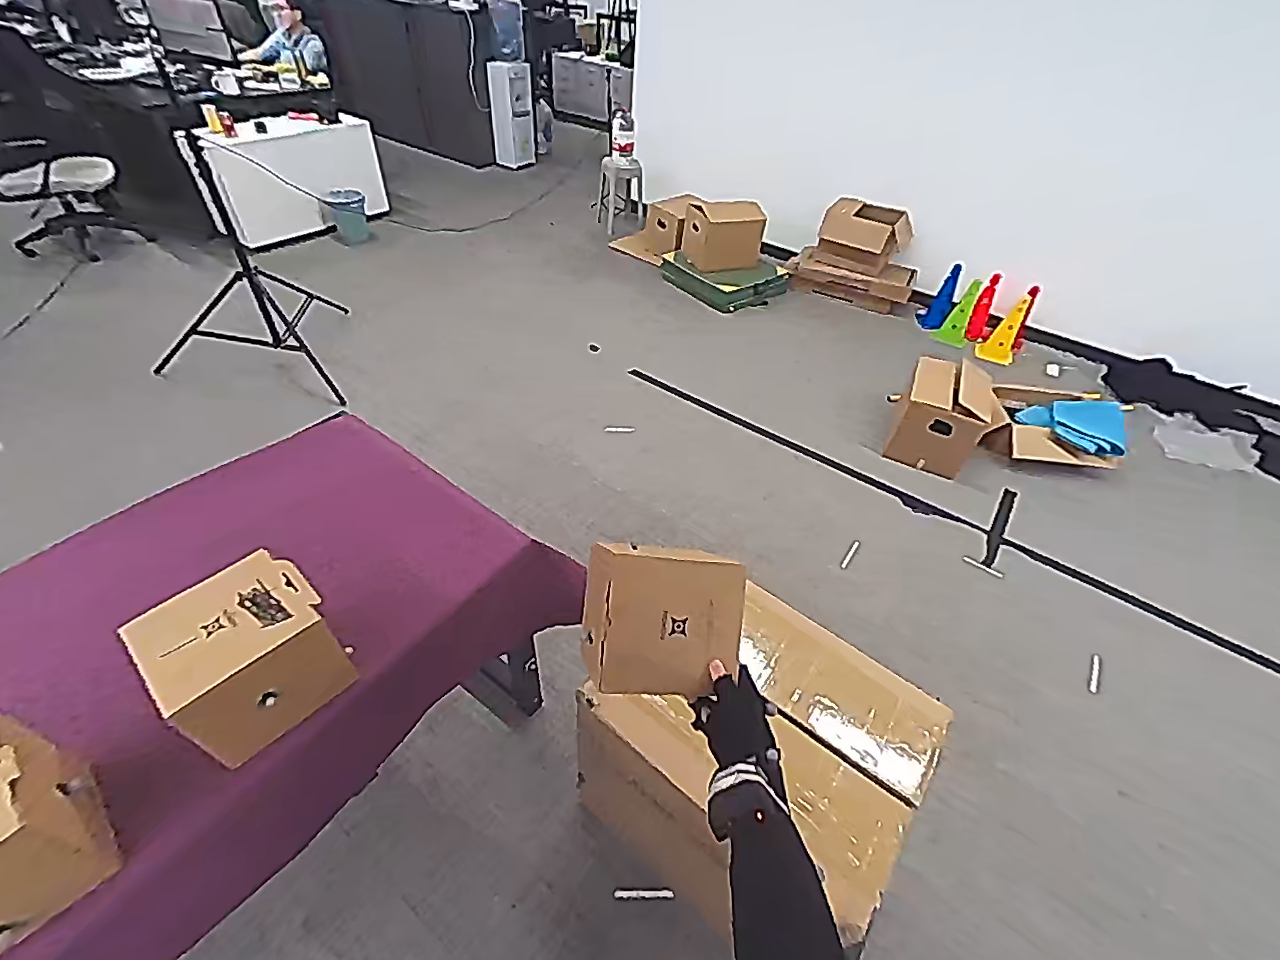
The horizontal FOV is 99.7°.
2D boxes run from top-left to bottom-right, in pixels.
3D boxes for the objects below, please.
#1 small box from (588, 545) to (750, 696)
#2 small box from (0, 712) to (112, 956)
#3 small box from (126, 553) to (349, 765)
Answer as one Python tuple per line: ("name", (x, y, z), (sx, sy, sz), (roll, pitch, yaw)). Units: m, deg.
("small box", (0.029, 0.180, 0.733), (0.179, 0.176, 0.168), (7, 86, -13))
("small box", (-0.706, 0.390, 0.561), (0.168, 0.176, 0.179), (34, 50, 28))
("small box", (-0.526, 0.241, 0.735), (0.168, 0.176, 0.179), (33, 51, 27))
